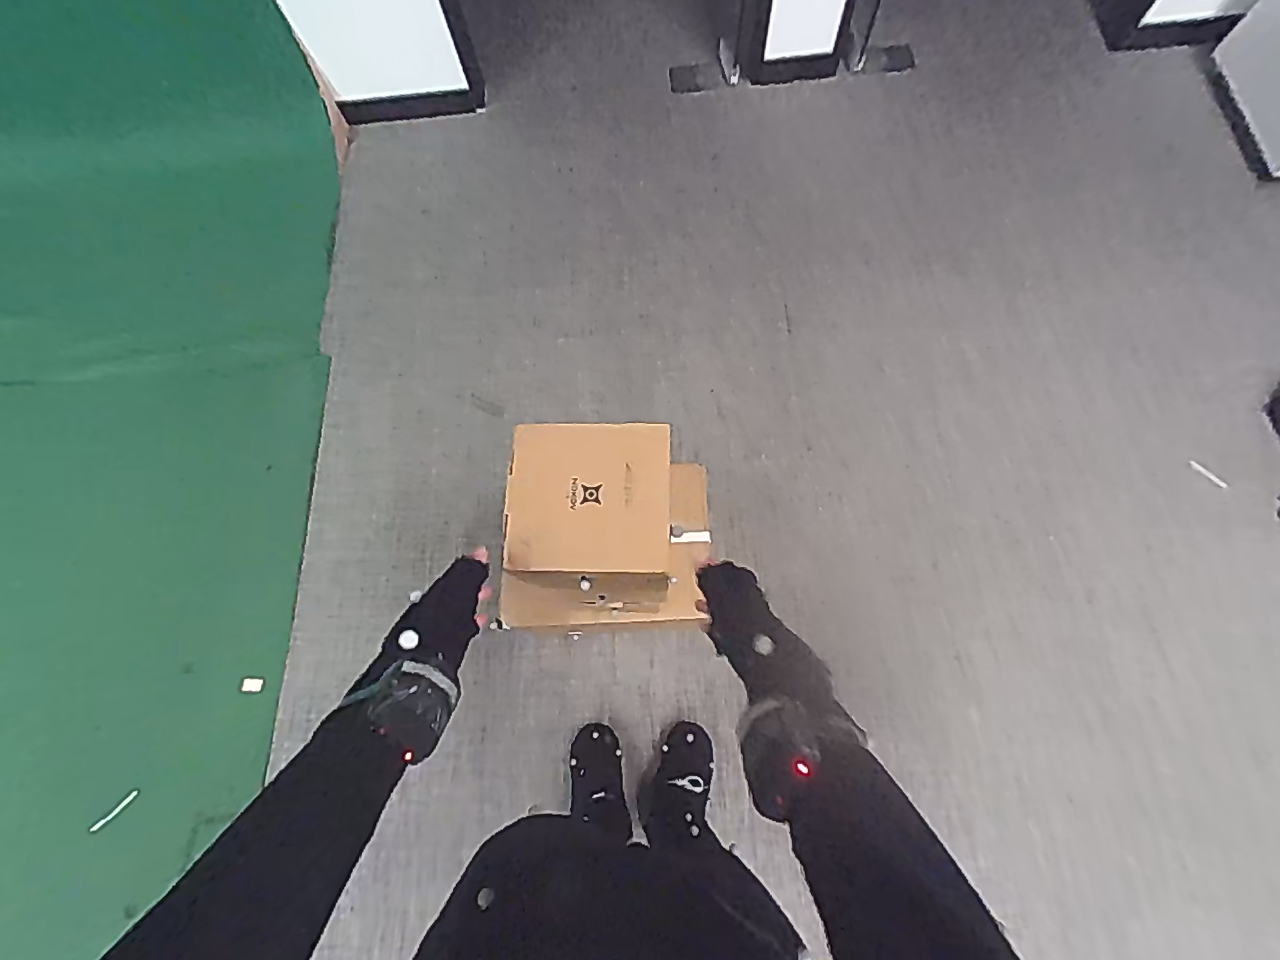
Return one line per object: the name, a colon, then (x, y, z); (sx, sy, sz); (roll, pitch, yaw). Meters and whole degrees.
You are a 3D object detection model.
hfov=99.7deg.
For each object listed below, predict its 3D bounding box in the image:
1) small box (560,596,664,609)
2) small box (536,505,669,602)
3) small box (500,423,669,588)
small box: (-0.042, 0.138, 0.964); (0.168, 0.176, 0.179); (-1, 73, 4)
small box: (-0.045, 0.090, 0.807); (0.179, 0.176, 0.168); (-1, 72, 5)
small box: (-0.055, 0.040, 0.653); (0.179, 0.176, 0.168); (-1, 73, 2)
